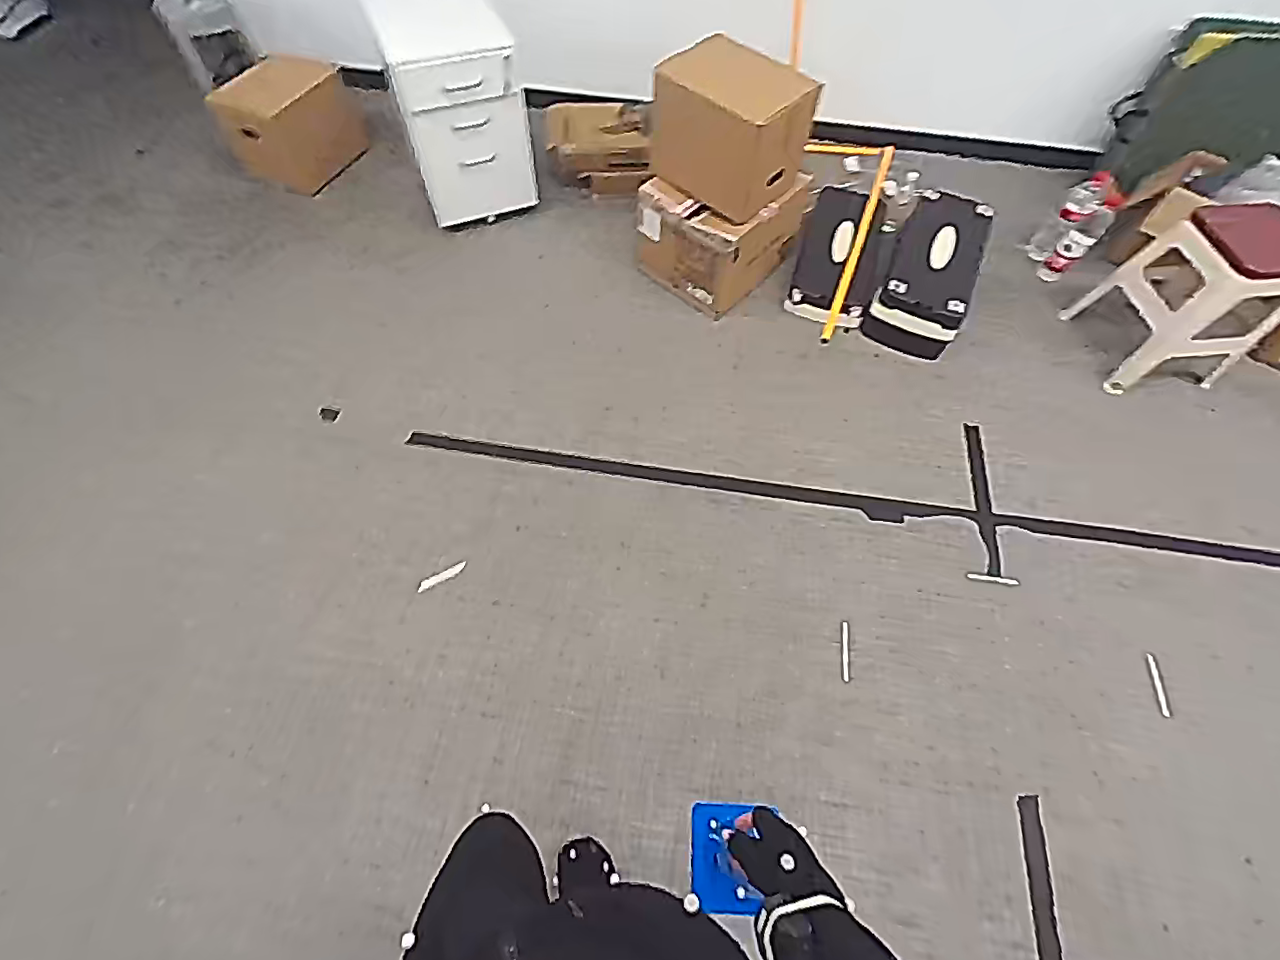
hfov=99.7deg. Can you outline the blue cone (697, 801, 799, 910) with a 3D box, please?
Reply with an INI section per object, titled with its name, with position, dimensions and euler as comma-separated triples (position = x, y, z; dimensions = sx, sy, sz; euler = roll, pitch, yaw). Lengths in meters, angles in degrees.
[blue cone]
position = 0.223, 0.728, 1.027
dimensions = 0.192, 0.380, 0.193
euler = 4, 61, 1
